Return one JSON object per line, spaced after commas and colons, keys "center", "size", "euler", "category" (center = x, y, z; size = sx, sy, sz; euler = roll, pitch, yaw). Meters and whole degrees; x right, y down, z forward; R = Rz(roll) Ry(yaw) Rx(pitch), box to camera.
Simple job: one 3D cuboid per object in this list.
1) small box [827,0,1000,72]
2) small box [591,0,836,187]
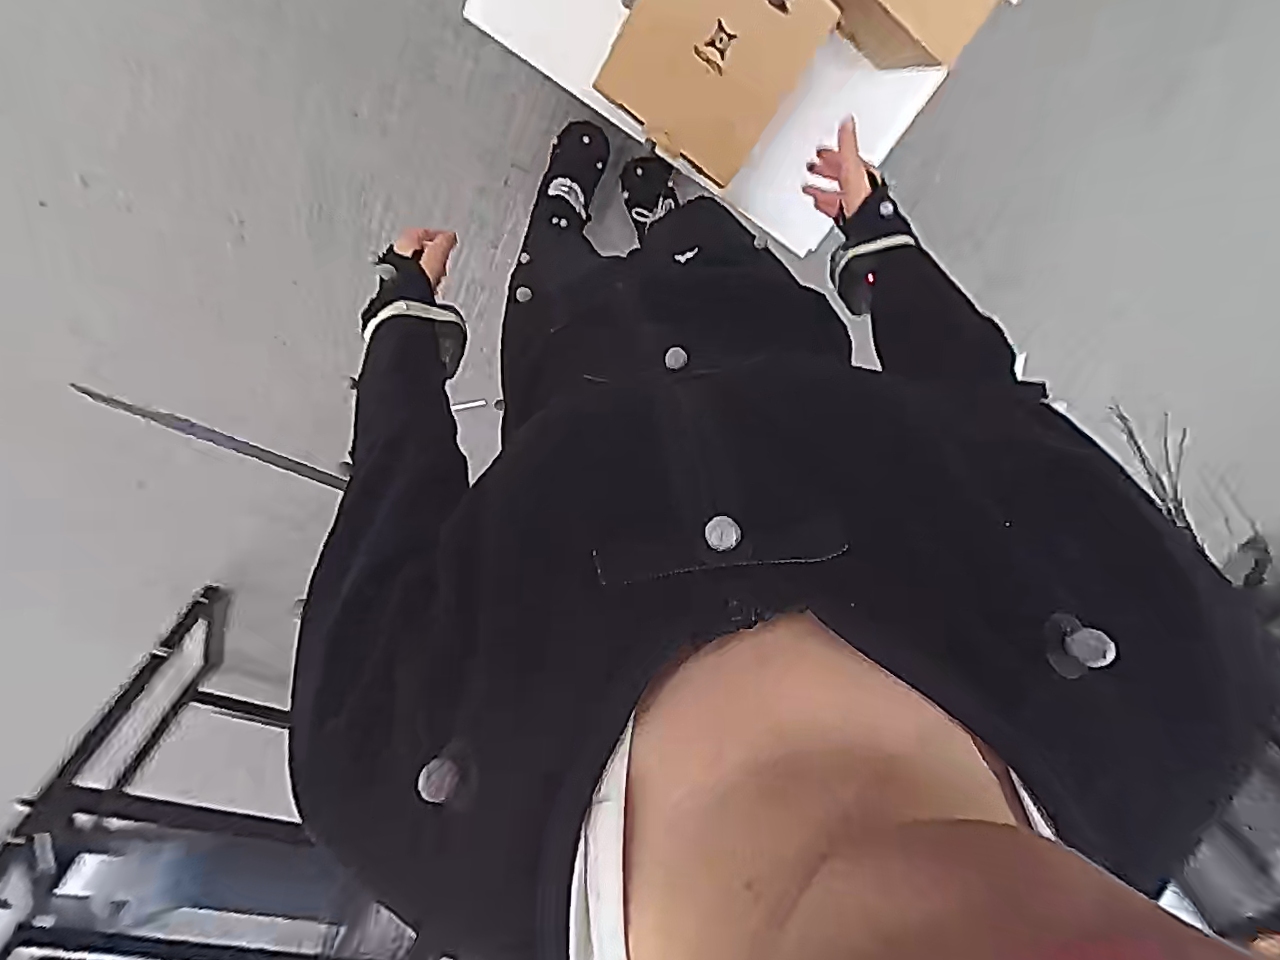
{"center": [0.272, -0.537, 0.520], "size": [0.168, 0.176, 0.179], "euler": [26, 122, -18], "category": "small box"}
{"center": [0.065, -0.449, 0.570], "size": [0.168, 0.176, 0.179], "euler": [28, 119, -21], "category": "small box"}
